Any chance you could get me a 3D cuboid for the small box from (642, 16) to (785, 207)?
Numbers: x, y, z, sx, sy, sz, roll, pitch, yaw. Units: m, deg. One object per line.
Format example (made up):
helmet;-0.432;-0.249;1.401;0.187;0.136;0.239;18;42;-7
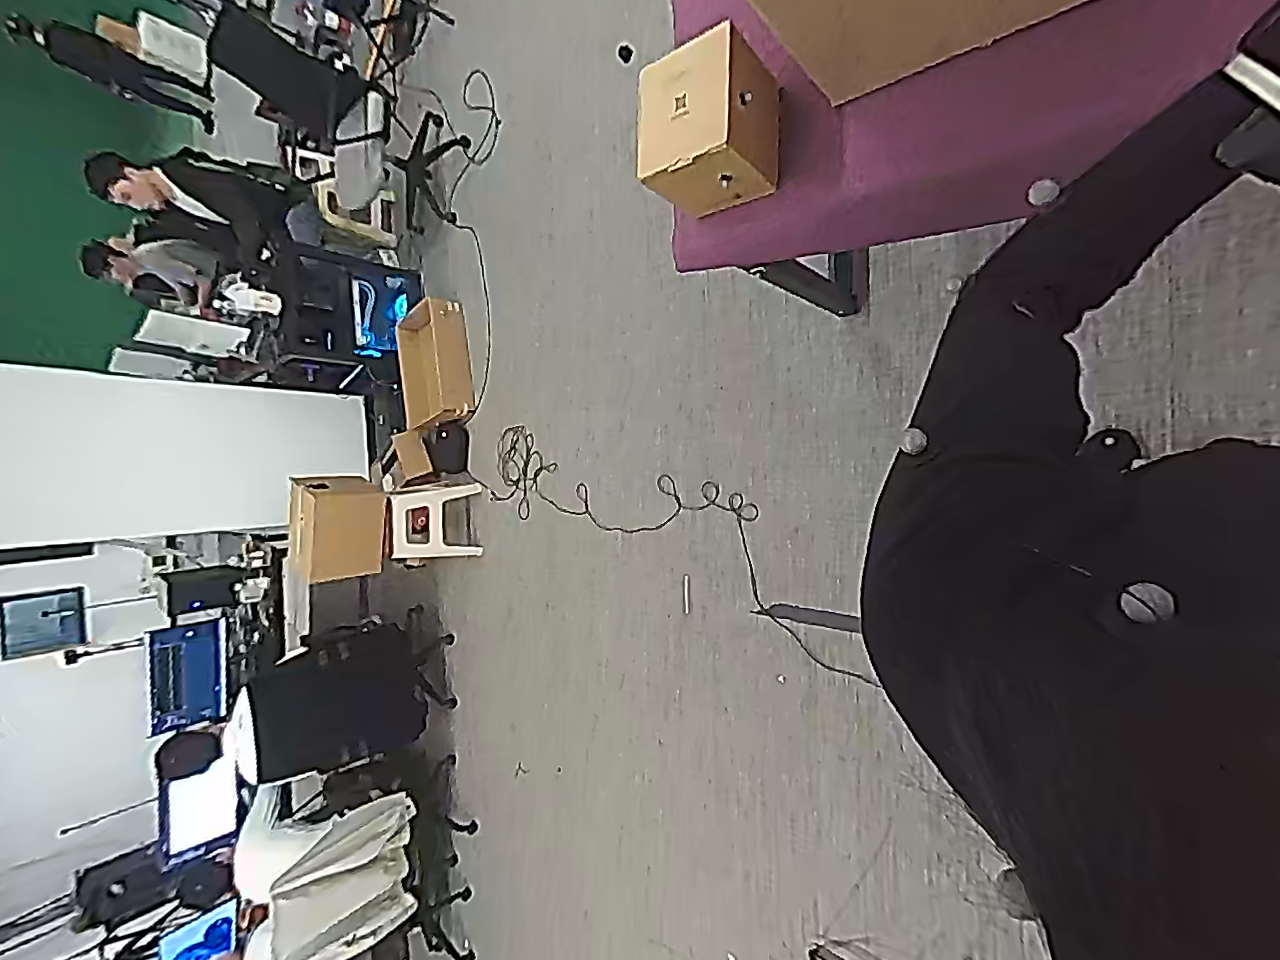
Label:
small box;0.120;-0.562;0.862;0.168;0.176;0.179;2;91;39
